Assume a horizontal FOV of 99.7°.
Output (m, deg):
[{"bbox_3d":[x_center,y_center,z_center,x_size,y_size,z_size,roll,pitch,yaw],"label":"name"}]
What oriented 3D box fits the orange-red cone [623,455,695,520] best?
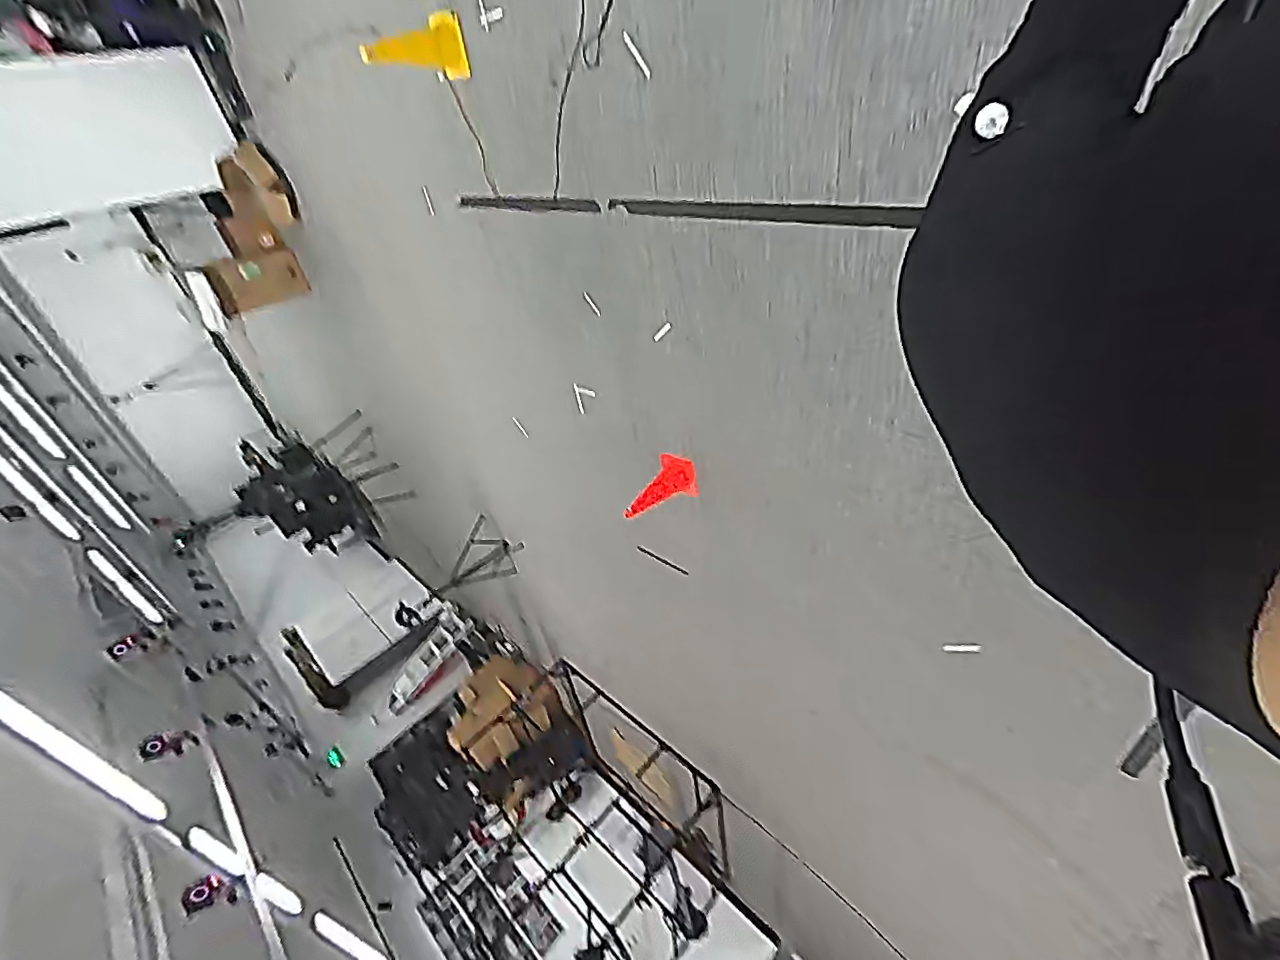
[{"bbox_3d":[0.056,0.067,2.429,0.199,0.360,0.198,19,135,40],"label":"orange-red cone"}]
